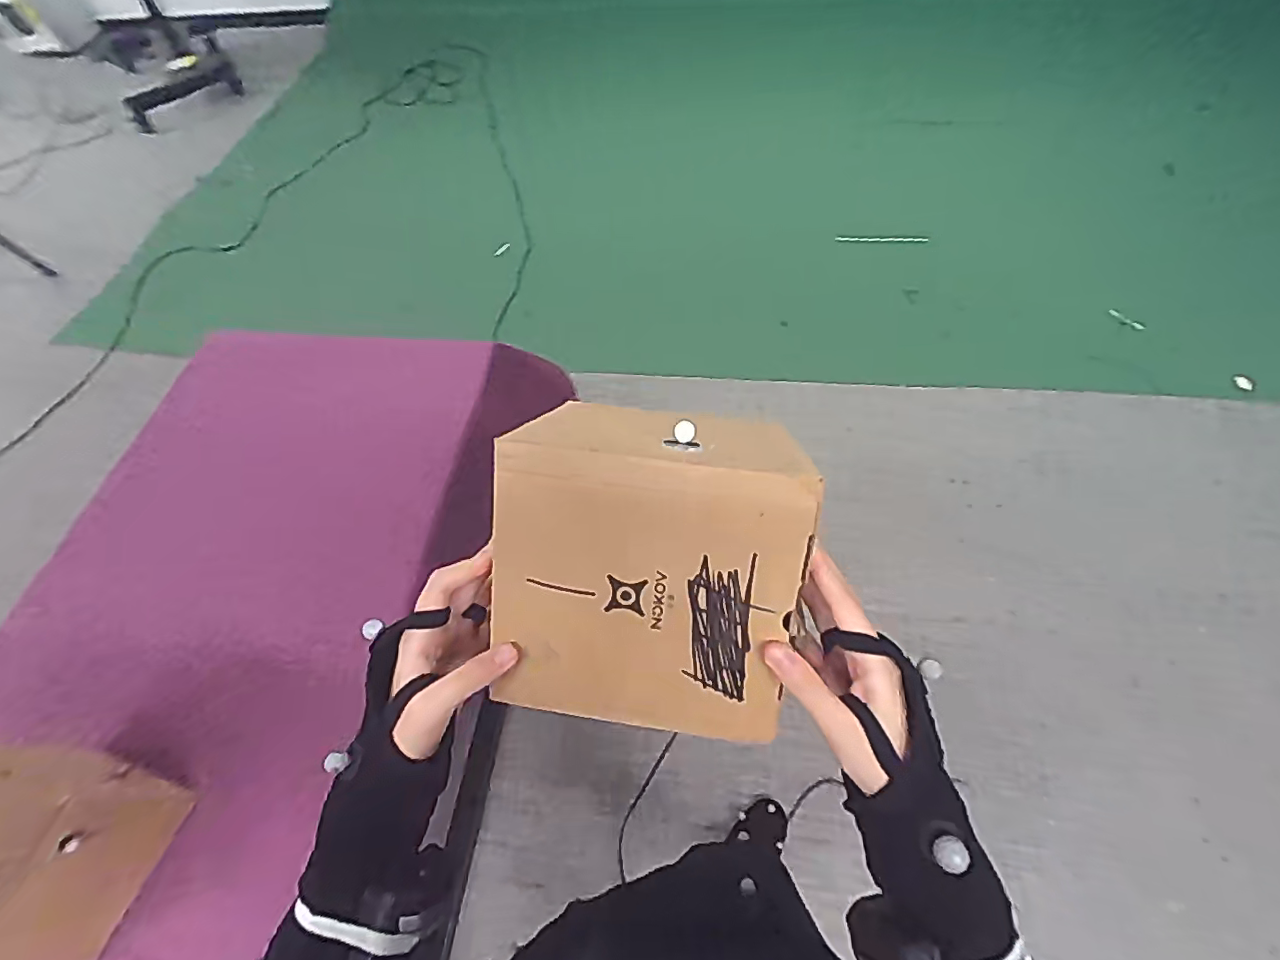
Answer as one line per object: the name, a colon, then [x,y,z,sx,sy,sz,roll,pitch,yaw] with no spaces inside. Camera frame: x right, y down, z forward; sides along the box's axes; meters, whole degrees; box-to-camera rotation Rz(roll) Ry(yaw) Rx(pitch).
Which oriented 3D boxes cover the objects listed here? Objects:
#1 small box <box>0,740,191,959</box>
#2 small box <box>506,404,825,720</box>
small box: [-0.654,0.403,0.579,0.168,0.176,0.179,13,59,13]
small box: [0.017,0.040,0.399,0.179,0.168,0.176,8,15,6]
